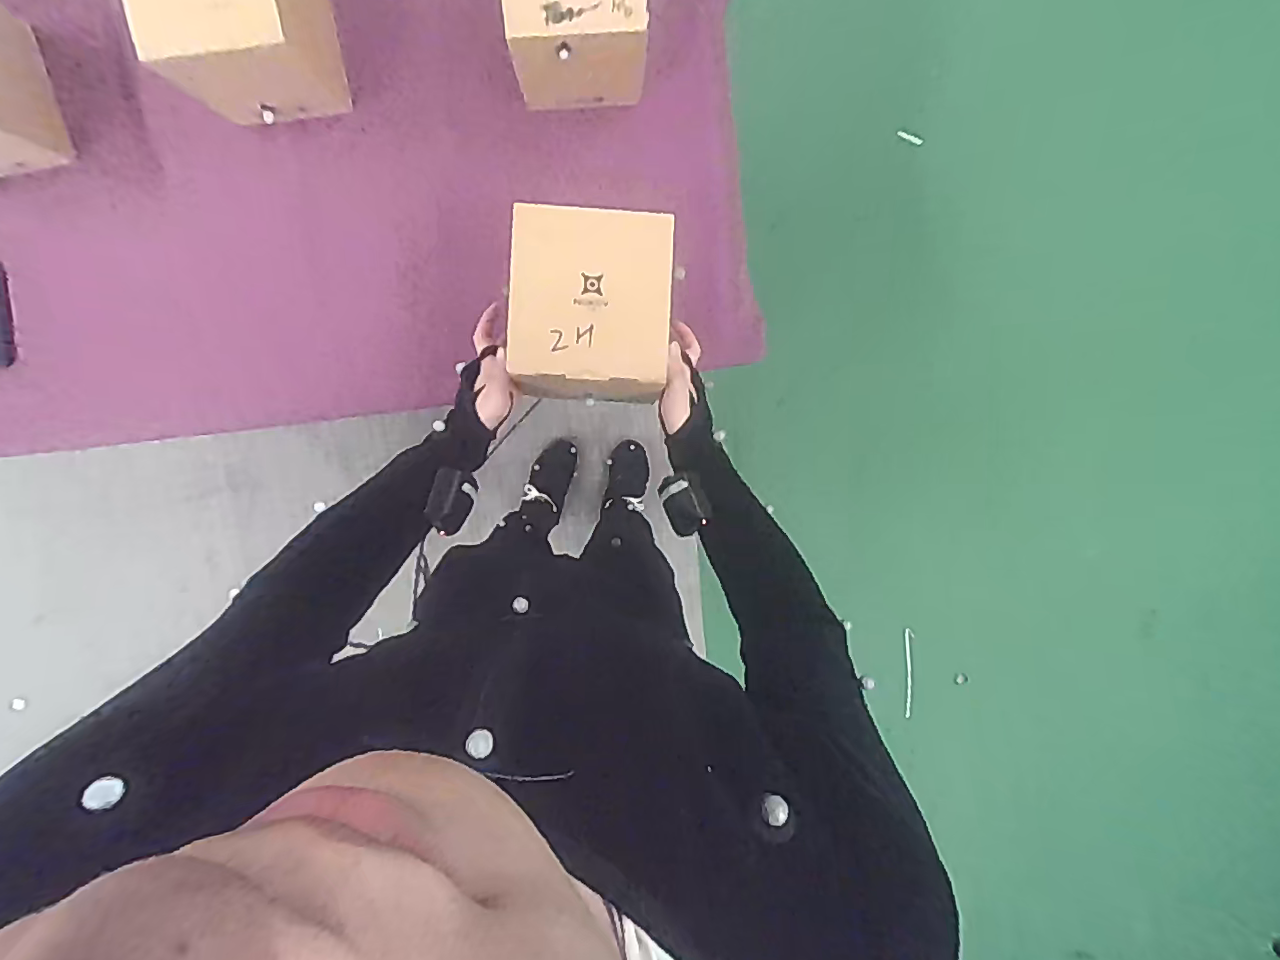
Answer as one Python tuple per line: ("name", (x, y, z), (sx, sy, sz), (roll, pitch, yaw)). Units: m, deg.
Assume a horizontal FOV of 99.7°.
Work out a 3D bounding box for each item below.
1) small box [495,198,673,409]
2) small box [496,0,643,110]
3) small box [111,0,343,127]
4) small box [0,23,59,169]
("small box", (-0.059, -0.183, 0.611), (0.168, 0.176, 0.179), (4, 91, -3))
("small box", (-0.088, -0.604, 0.678), (0.168, 0.176, 0.179), (-5, 100, -2))
("small box", (-0.498, -0.571, 0.660), (0.168, 0.176, 0.179), (-8, 100, -1))
("small box", (-0.878, -0.491, 0.650), (0.168, 0.176, 0.179), (-12, 99, -2))
